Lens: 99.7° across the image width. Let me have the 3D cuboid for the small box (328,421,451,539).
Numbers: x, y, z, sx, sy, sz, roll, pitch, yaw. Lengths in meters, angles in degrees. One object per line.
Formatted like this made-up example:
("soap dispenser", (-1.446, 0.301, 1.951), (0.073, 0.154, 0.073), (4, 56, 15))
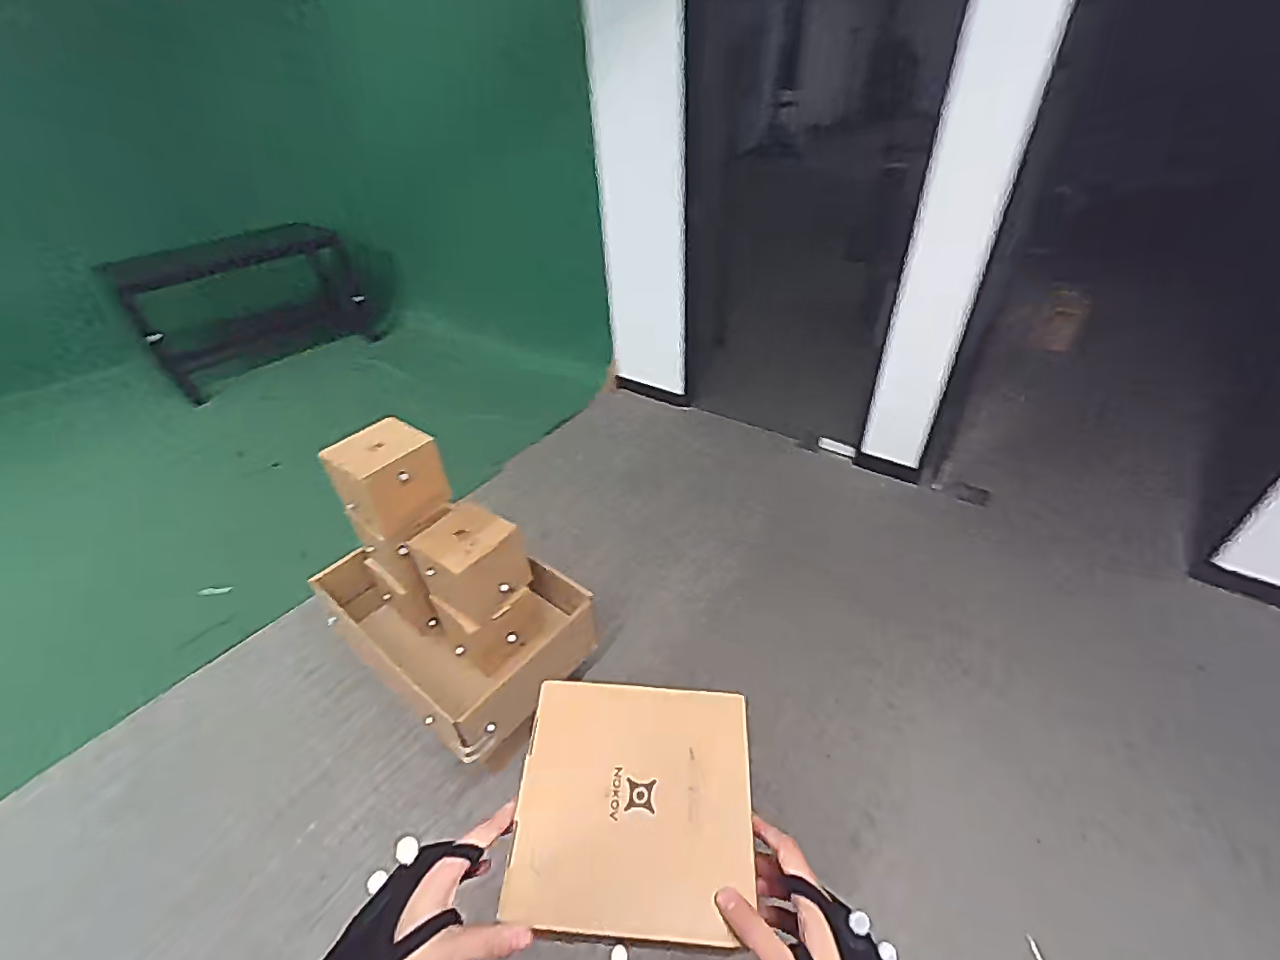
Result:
("small box", (-0.547, -0.001, 1.208), (0.168, 0.176, 0.179), (24, 46, 30))
